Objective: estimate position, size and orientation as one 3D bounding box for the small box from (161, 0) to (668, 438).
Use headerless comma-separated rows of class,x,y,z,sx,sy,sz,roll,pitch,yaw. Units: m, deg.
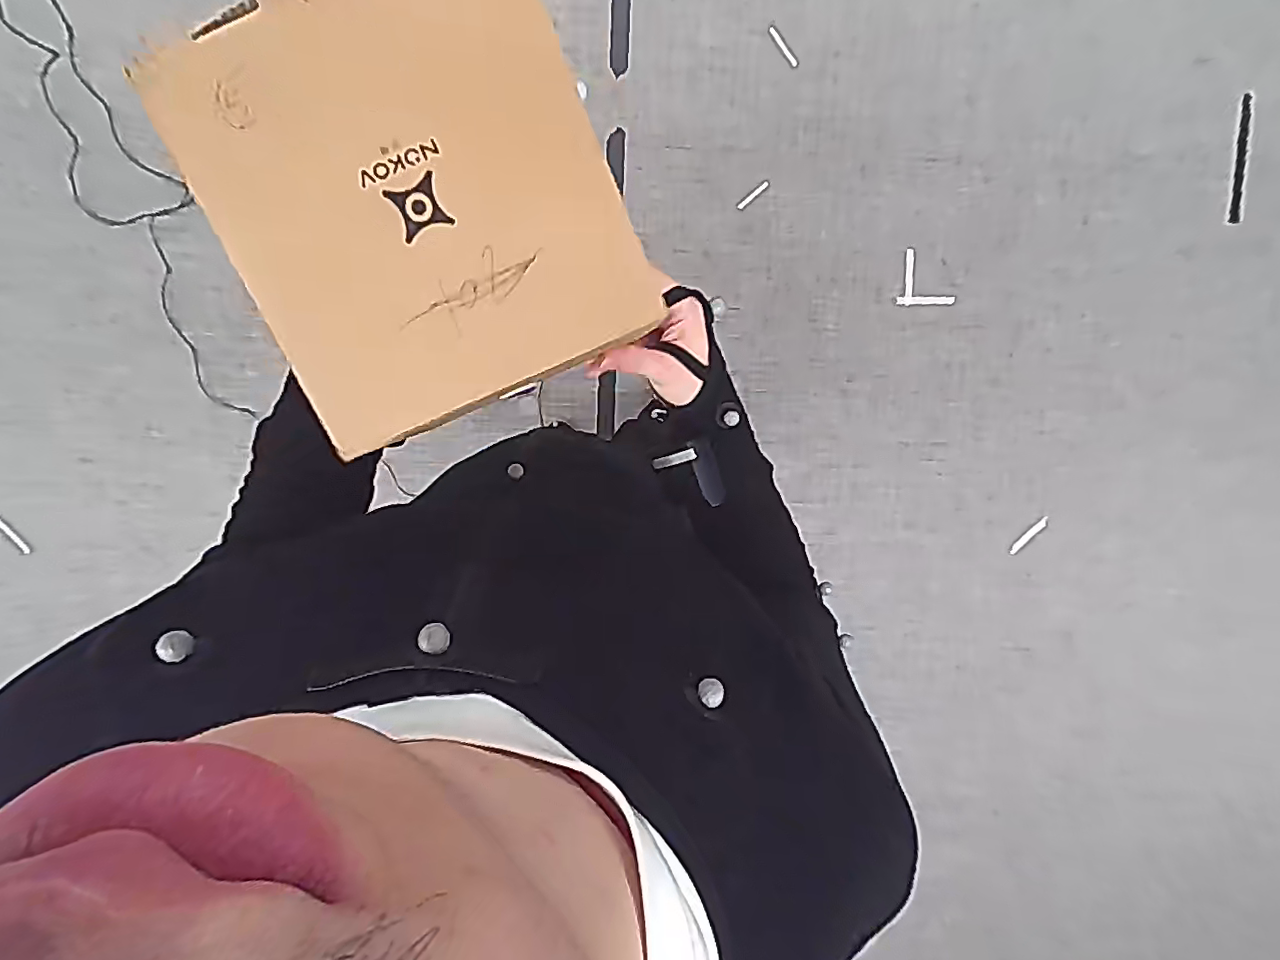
small box,-0.100,-0.143,0.321,0.168,0.176,0.179,-25,102,2
